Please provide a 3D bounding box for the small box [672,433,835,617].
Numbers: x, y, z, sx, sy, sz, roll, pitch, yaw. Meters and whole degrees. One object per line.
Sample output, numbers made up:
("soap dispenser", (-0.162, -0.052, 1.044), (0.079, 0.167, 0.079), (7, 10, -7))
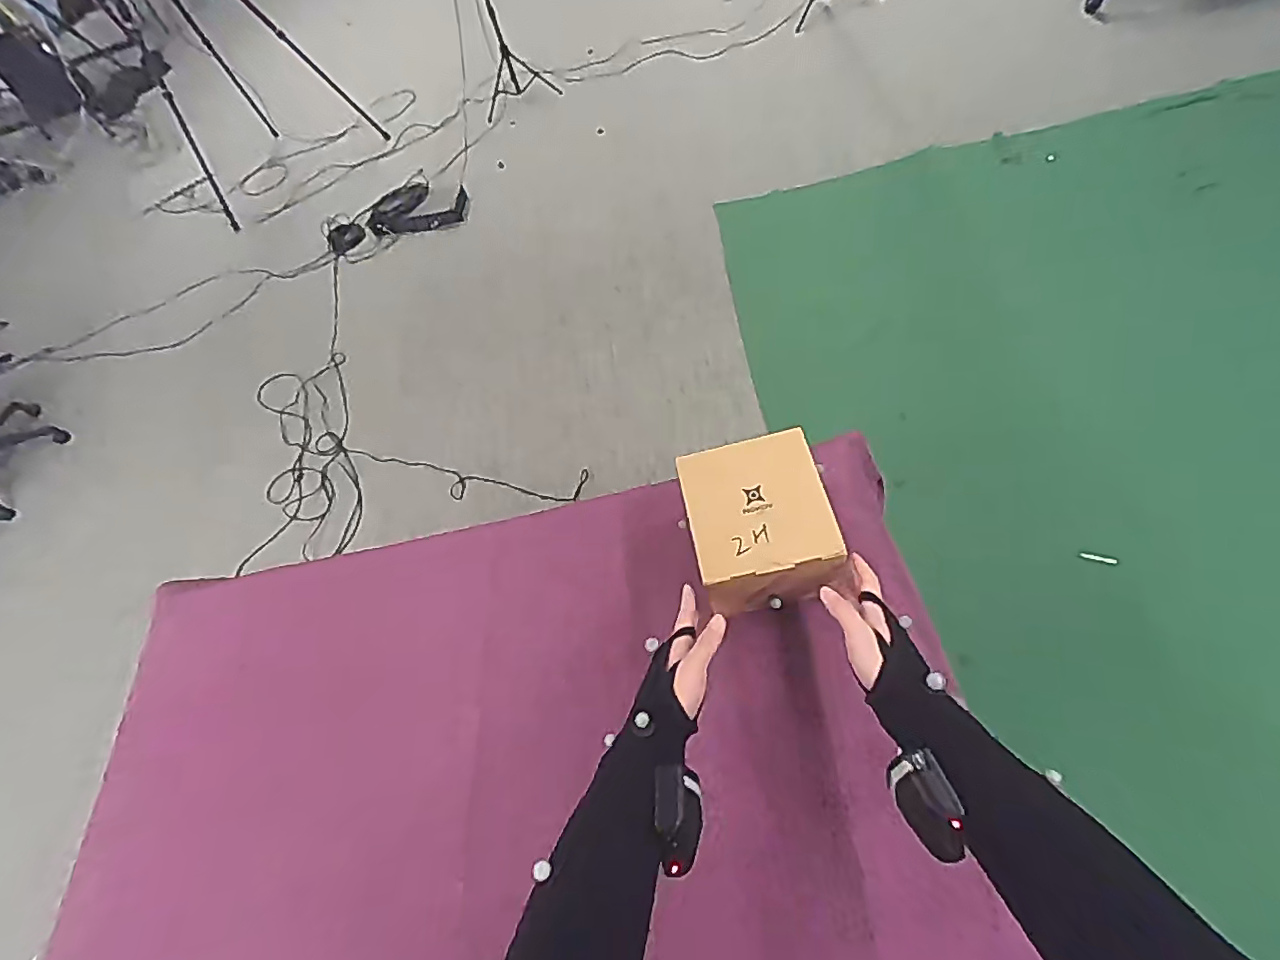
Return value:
("small box", (0.147, 0.067, 0.725), (0.168, 0.176, 0.179), (-14, 61, 8))
